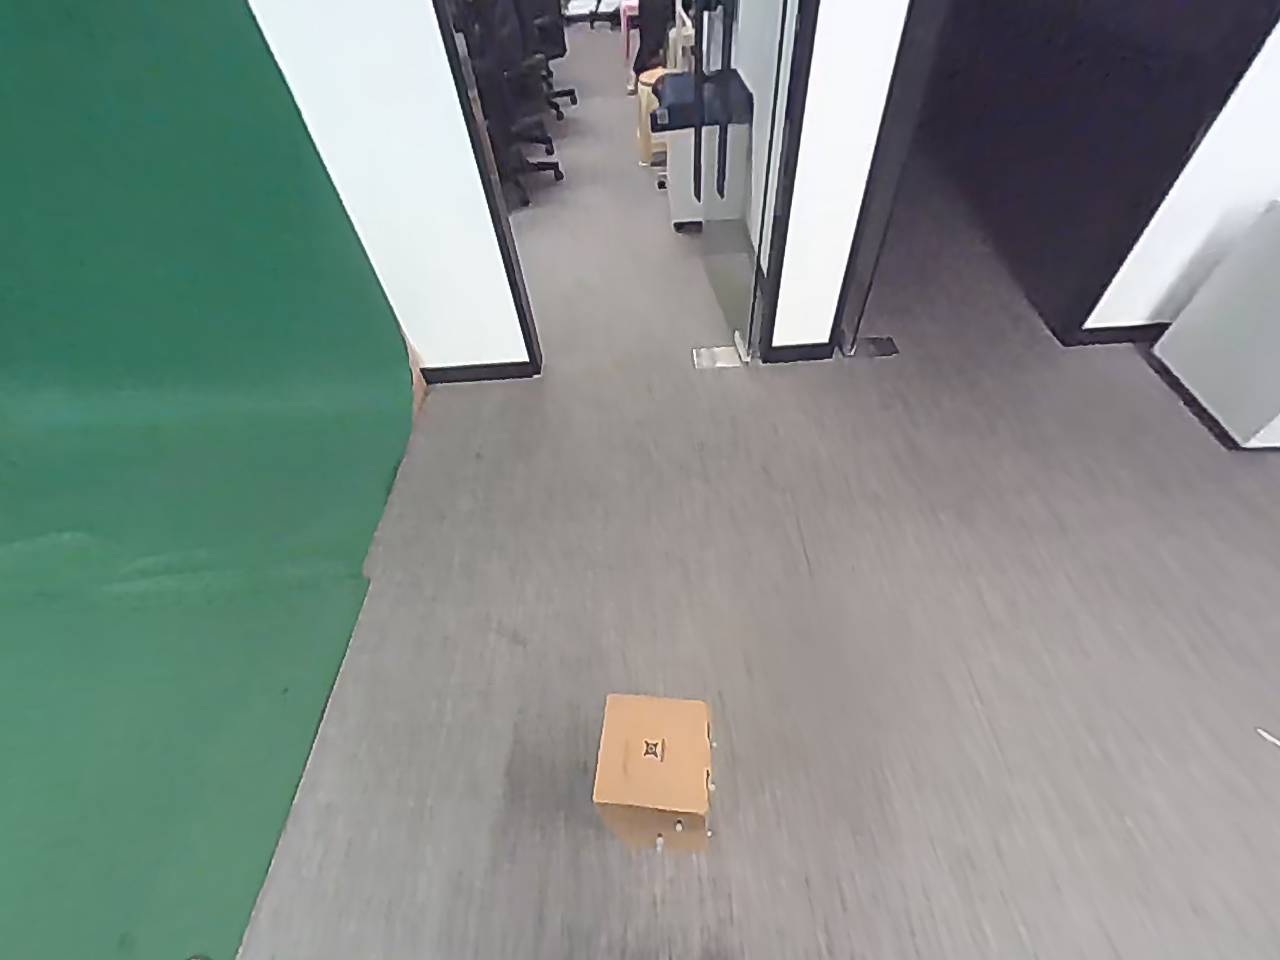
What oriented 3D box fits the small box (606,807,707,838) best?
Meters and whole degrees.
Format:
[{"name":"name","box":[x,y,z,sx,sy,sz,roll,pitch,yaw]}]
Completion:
[{"name":"small box","box":[0.038,0.586,1.048,0.179,0.176,0.168,-1,51,6]}]

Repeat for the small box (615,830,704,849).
[{"name":"small box","box":[0.051,0.689,1.172,0.179,0.176,0.168,0,49,8]}]

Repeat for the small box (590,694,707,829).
[{"name":"small box","box":[0.024,0.482,0.921,0.179,0.176,0.168,1,49,8]}]
